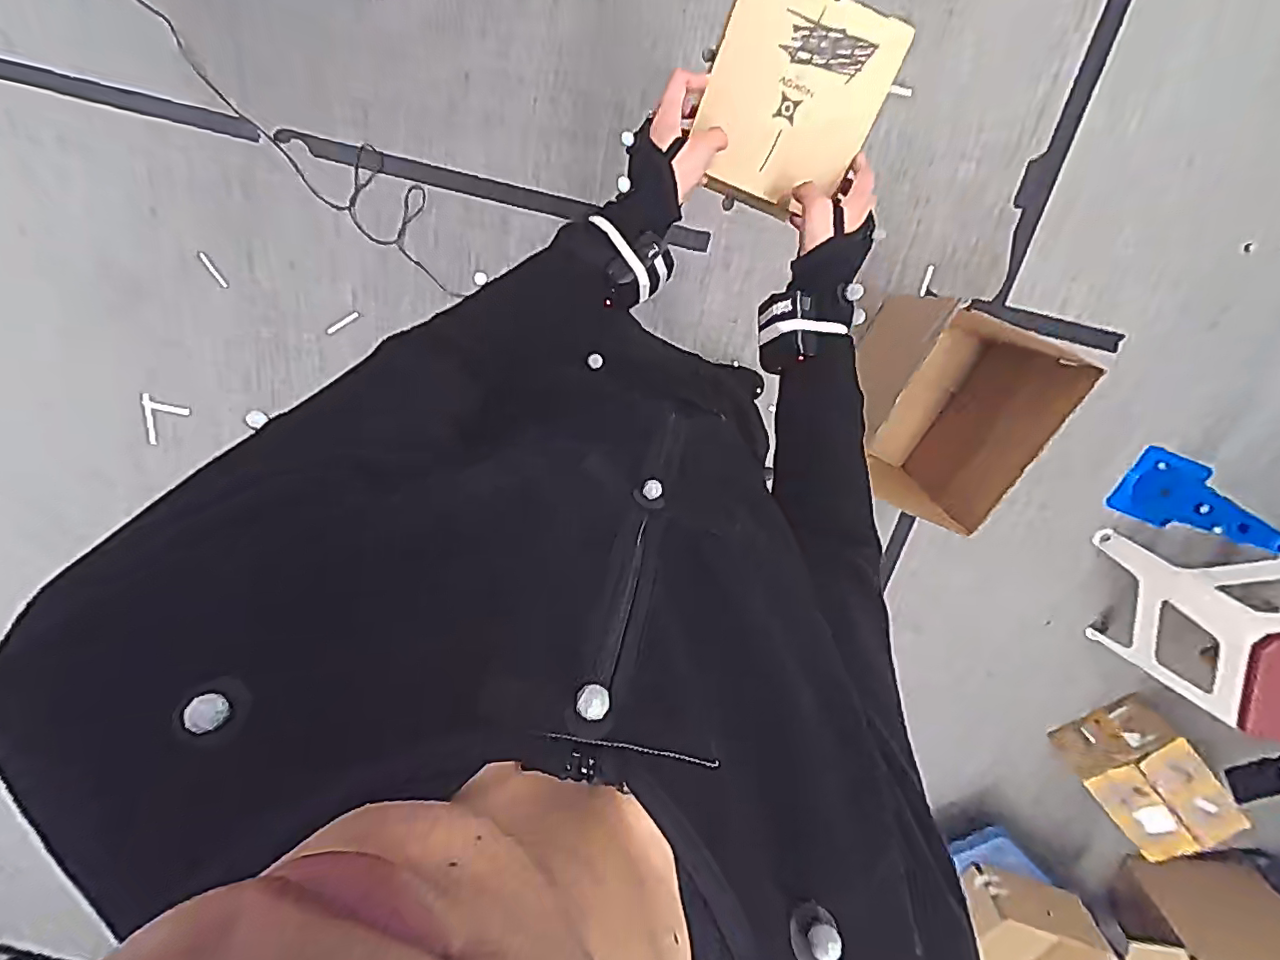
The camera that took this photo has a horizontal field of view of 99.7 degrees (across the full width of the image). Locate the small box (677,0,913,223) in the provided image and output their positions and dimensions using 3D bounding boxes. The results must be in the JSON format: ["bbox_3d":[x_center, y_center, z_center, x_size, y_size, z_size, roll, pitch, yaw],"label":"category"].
[{"bbox_3d":[0.143,-0.397,0.581,0.168,0.176,0.179,18,115,-8],"label":"small box"}]
